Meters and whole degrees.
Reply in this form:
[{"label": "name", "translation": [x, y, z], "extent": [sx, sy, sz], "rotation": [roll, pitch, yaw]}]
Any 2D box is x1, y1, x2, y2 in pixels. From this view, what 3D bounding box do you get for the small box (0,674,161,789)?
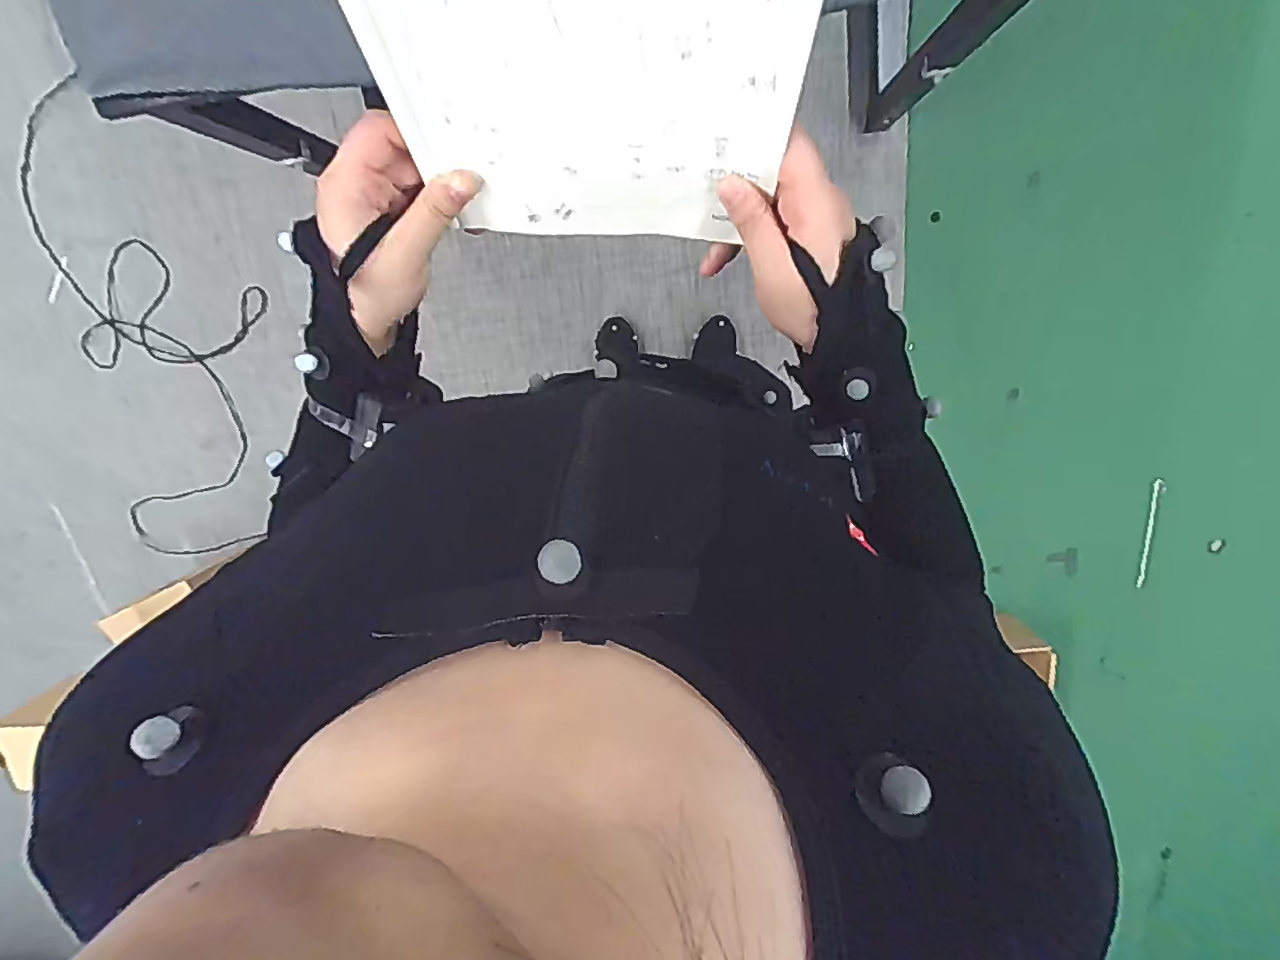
[{"label": "small box", "translation": [-1.233, 0.548, 1.195], "extent": [0.179, 0.176, 0.168], "rotation": [-3, 107, 7]}]
